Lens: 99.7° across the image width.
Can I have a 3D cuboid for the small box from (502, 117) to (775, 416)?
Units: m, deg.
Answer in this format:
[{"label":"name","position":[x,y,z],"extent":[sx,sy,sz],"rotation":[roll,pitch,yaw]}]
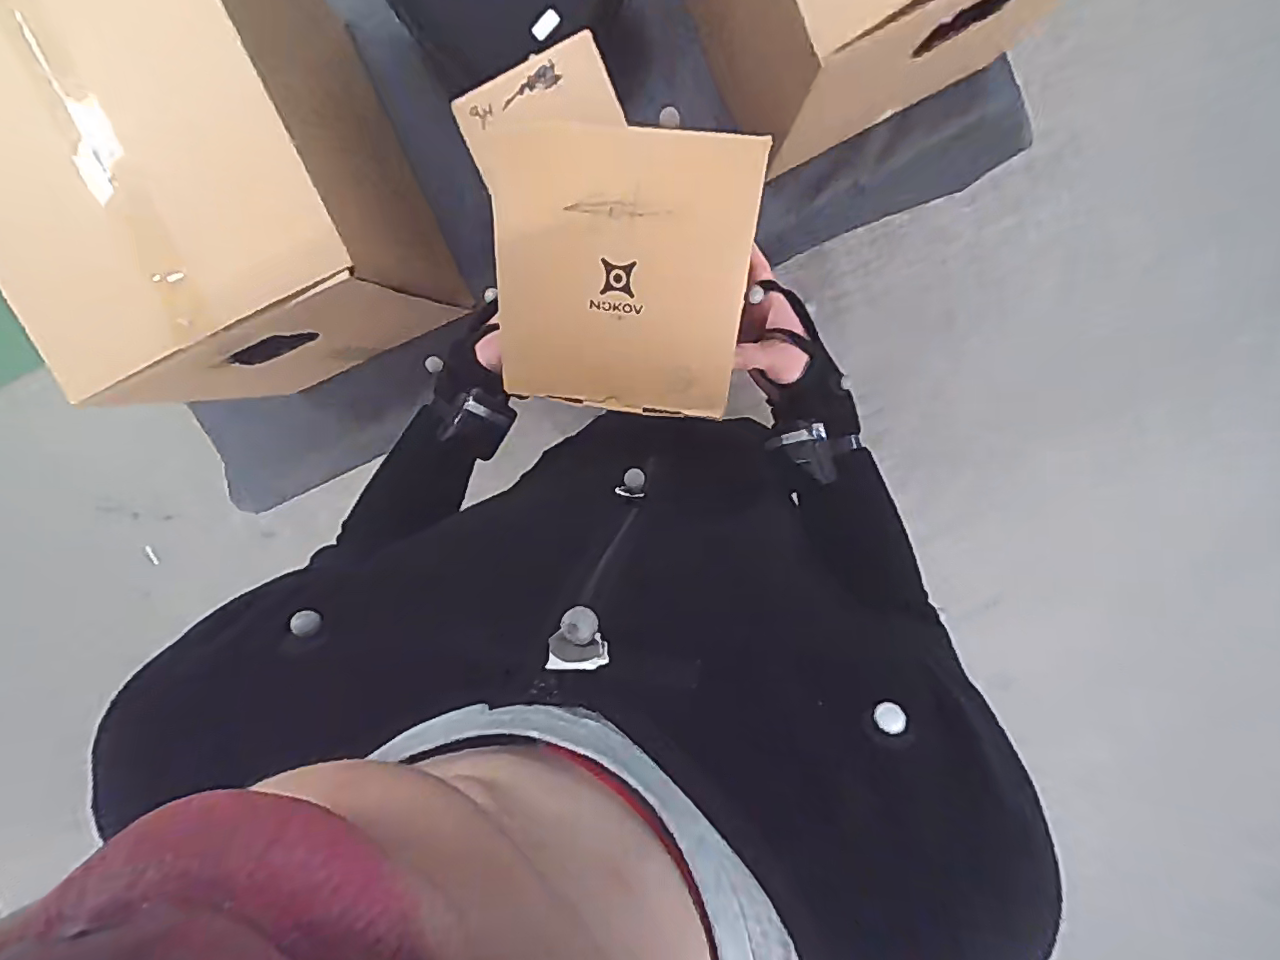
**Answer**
[{"label":"small box","position":[0.003,-0.171,0.425],"extent":[0.168,0.176,0.179],"rotation":[7,121,4]}]
